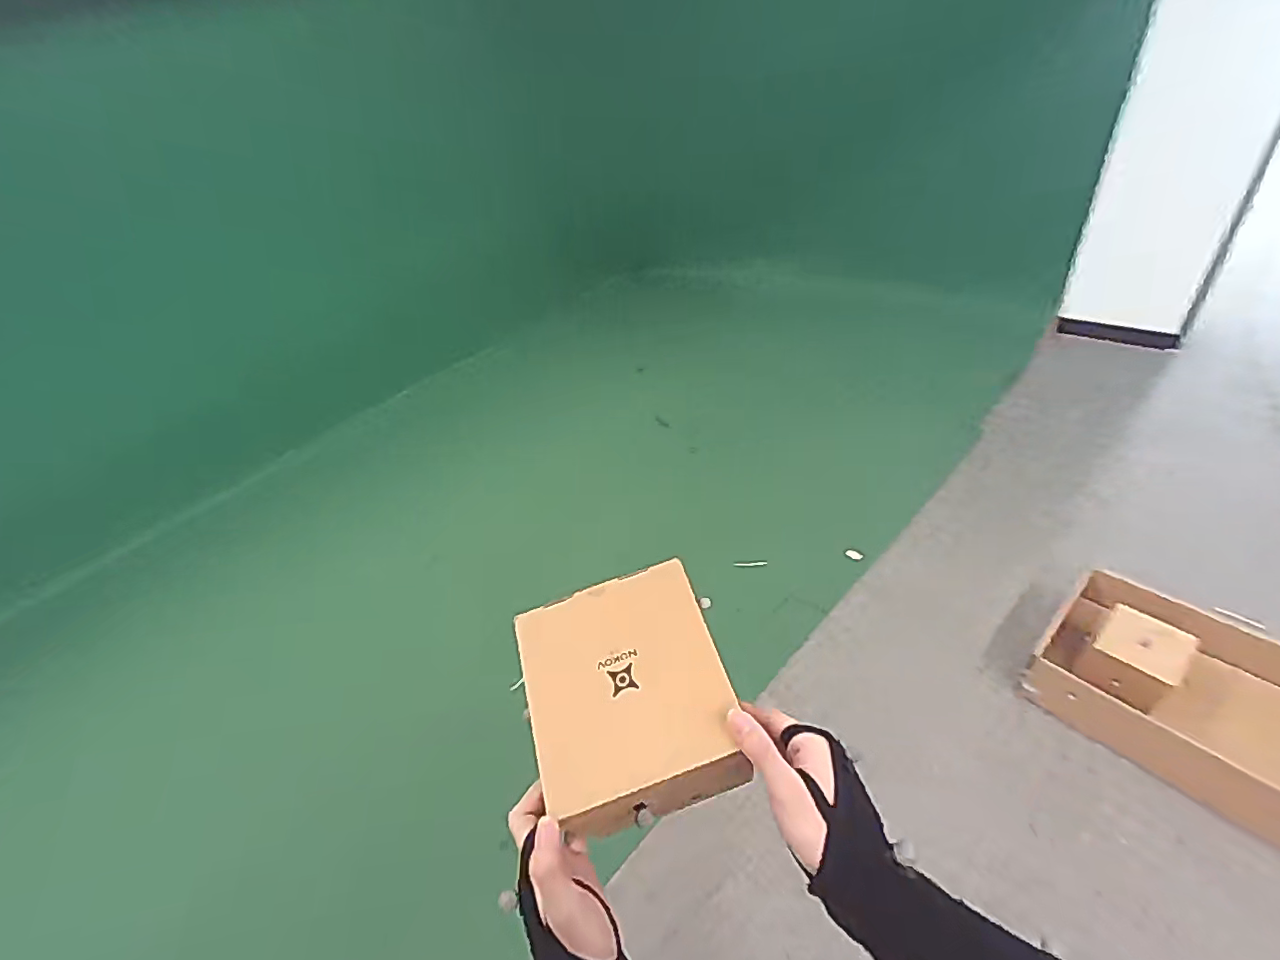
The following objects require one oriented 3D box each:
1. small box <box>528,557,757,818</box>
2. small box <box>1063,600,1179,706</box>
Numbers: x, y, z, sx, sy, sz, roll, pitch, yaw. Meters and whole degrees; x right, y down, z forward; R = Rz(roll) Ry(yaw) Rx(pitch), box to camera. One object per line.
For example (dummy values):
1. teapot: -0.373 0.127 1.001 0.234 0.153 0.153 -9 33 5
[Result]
1. small box: 0.006 0.210 0.530 0.168 0.176 0.179 -19 52 -3
2. small box: 1.269 0.463 1.441 0.179 0.176 0.168 -38 47 -24
